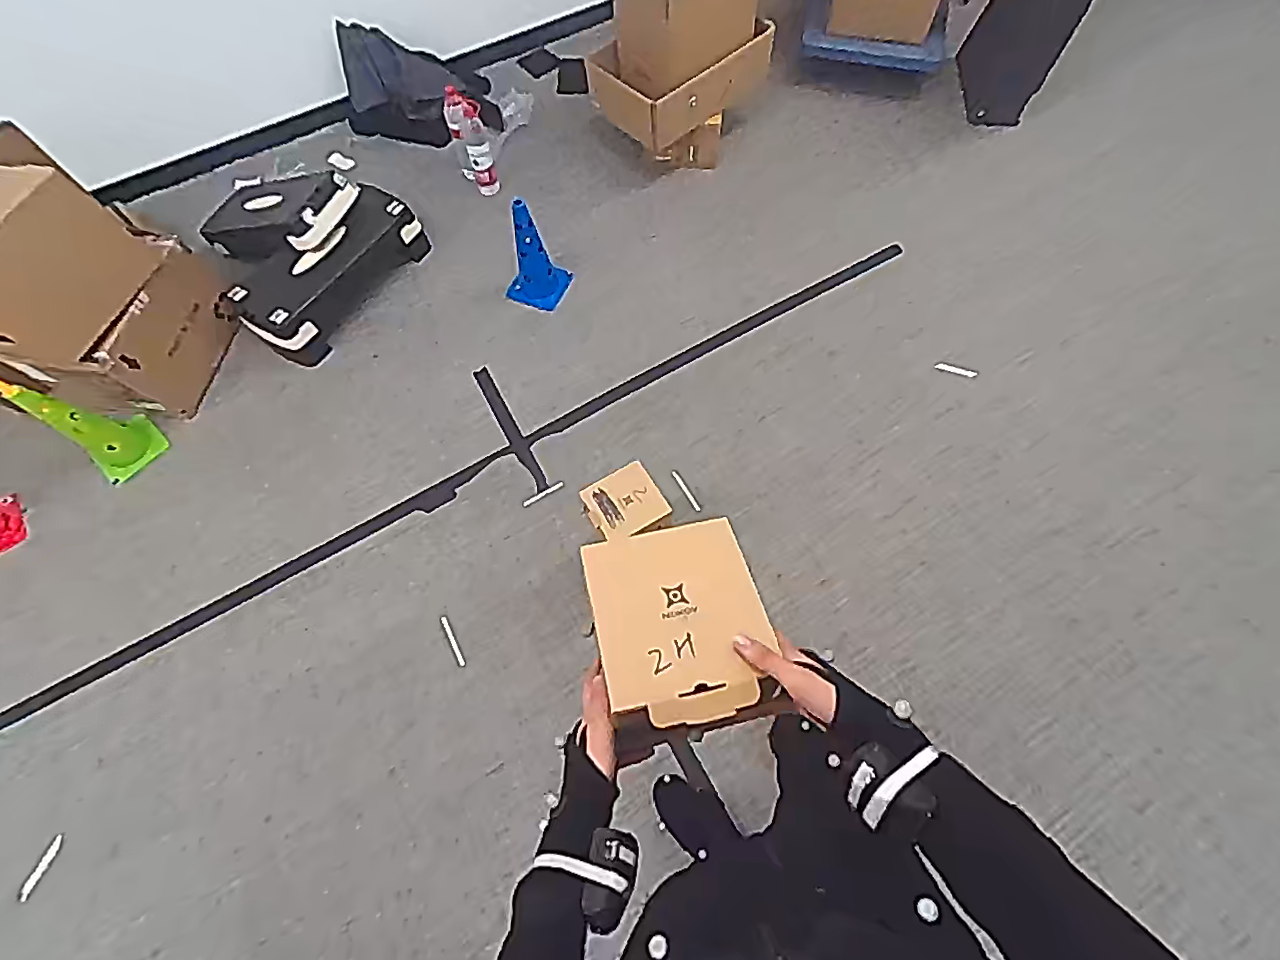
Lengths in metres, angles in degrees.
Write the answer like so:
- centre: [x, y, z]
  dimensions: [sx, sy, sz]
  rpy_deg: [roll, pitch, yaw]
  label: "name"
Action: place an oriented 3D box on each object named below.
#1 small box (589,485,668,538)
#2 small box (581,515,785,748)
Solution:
- centre: [-0.021, 0.150, 1.532]
  dimensions: [0.168, 0.176, 0.179]
  rpy_deg: [-33, 69, -12]
  label: "small box"
- centre: [0.033, 0.167, 0.589]
  dimensions: [0.168, 0.176, 0.179]
  rpy_deg: [-11, 54, -8]
  label: "small box"
